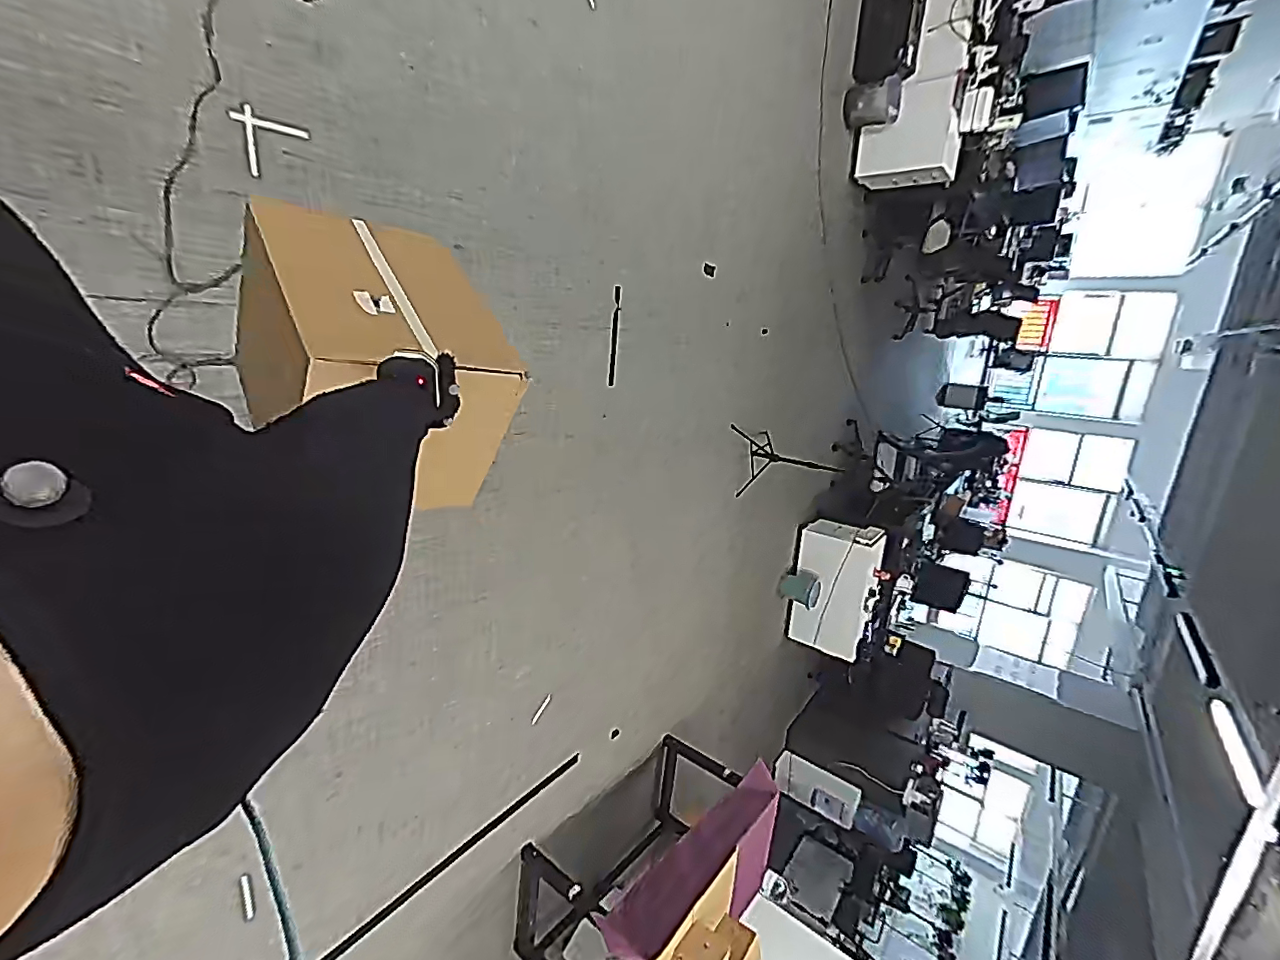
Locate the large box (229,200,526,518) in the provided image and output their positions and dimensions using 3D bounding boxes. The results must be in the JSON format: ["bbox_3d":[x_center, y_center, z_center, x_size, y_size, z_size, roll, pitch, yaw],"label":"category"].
[{"bbox_3d":[-0.468,-0.195,0.933,0.320,0.408,0.320,-6,142,-46],"label":"large box"}]
